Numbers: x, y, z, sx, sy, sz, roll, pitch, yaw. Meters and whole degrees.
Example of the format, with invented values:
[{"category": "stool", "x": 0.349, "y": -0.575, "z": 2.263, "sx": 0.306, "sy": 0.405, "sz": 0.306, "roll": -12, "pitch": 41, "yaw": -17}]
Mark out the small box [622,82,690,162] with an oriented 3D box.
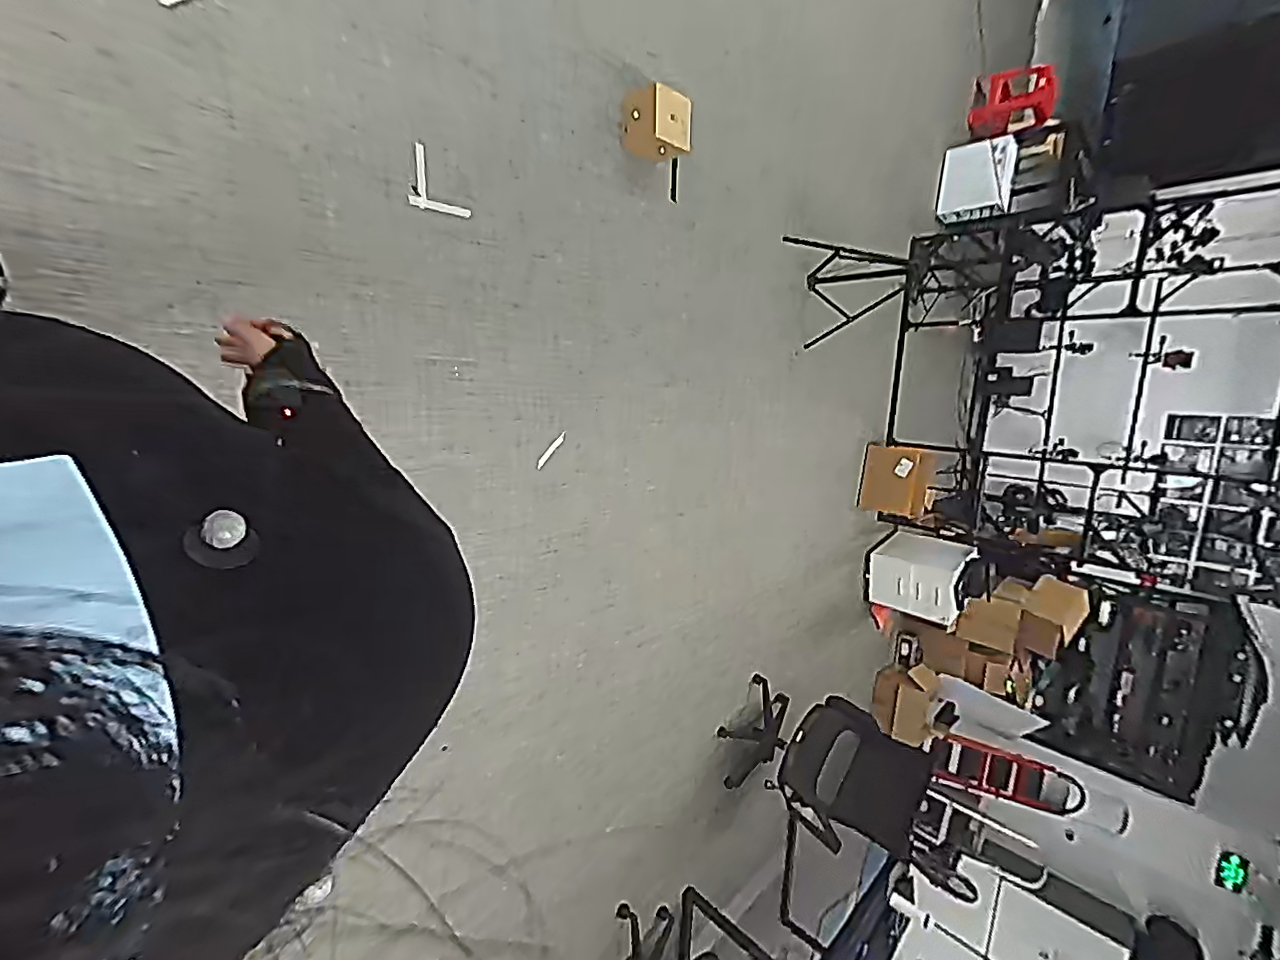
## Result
[{"category": "small box", "x": 0.053, "y": -1.225, "z": 1.867, "sx": 0.179, "sy": 0.176, "sz": 0.168, "roll": -9, "pitch": 106, "yaw": -45}]
